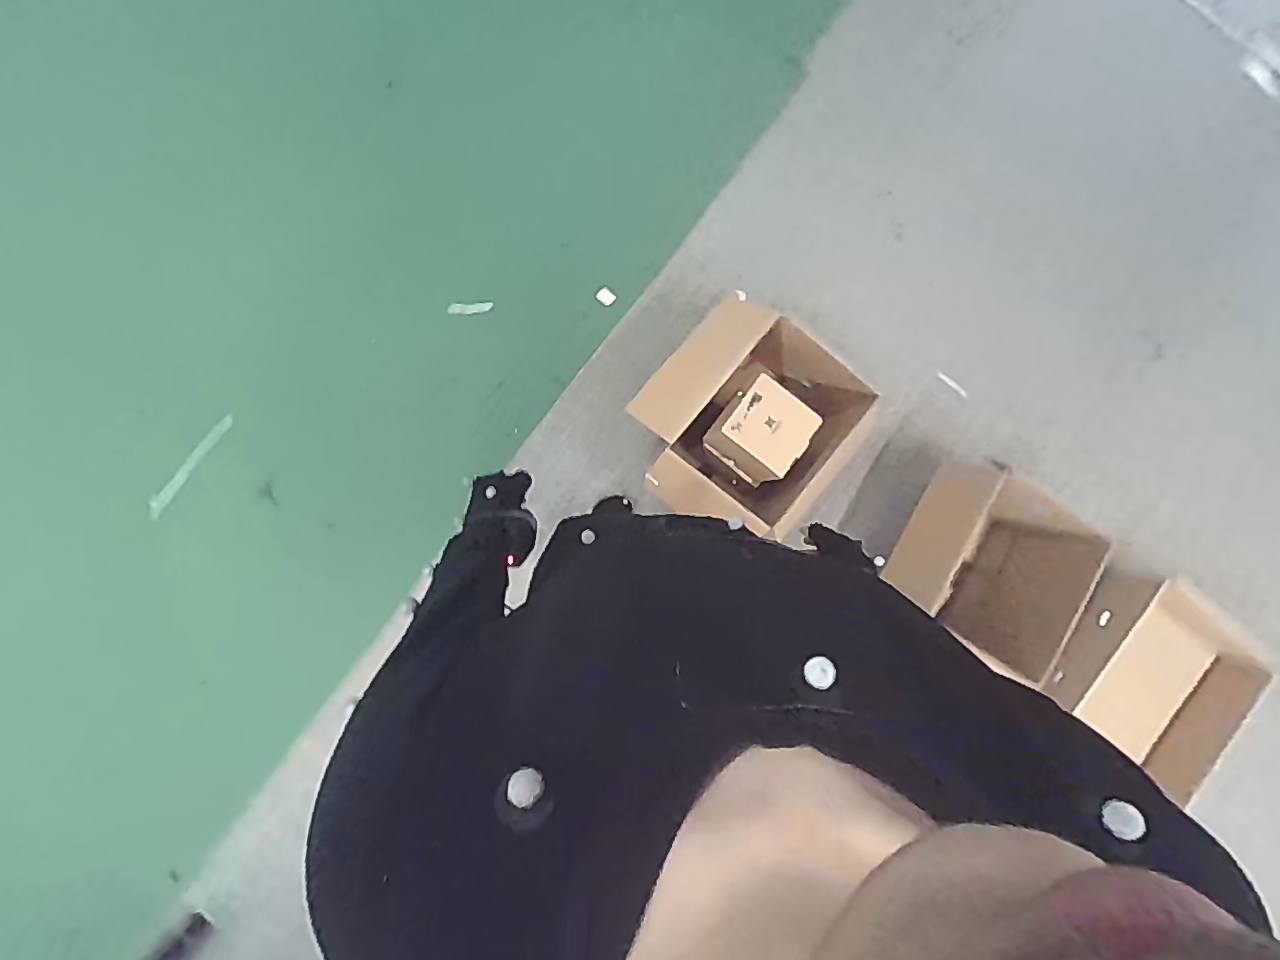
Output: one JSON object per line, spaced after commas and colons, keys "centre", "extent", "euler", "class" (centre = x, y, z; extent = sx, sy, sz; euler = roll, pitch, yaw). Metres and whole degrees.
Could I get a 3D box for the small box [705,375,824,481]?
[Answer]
{"centre": [0.280, -0.114, 1.250], "extent": [0.179, 0.176, 0.168], "euler": [39, 83, -5], "class": "small box"}
